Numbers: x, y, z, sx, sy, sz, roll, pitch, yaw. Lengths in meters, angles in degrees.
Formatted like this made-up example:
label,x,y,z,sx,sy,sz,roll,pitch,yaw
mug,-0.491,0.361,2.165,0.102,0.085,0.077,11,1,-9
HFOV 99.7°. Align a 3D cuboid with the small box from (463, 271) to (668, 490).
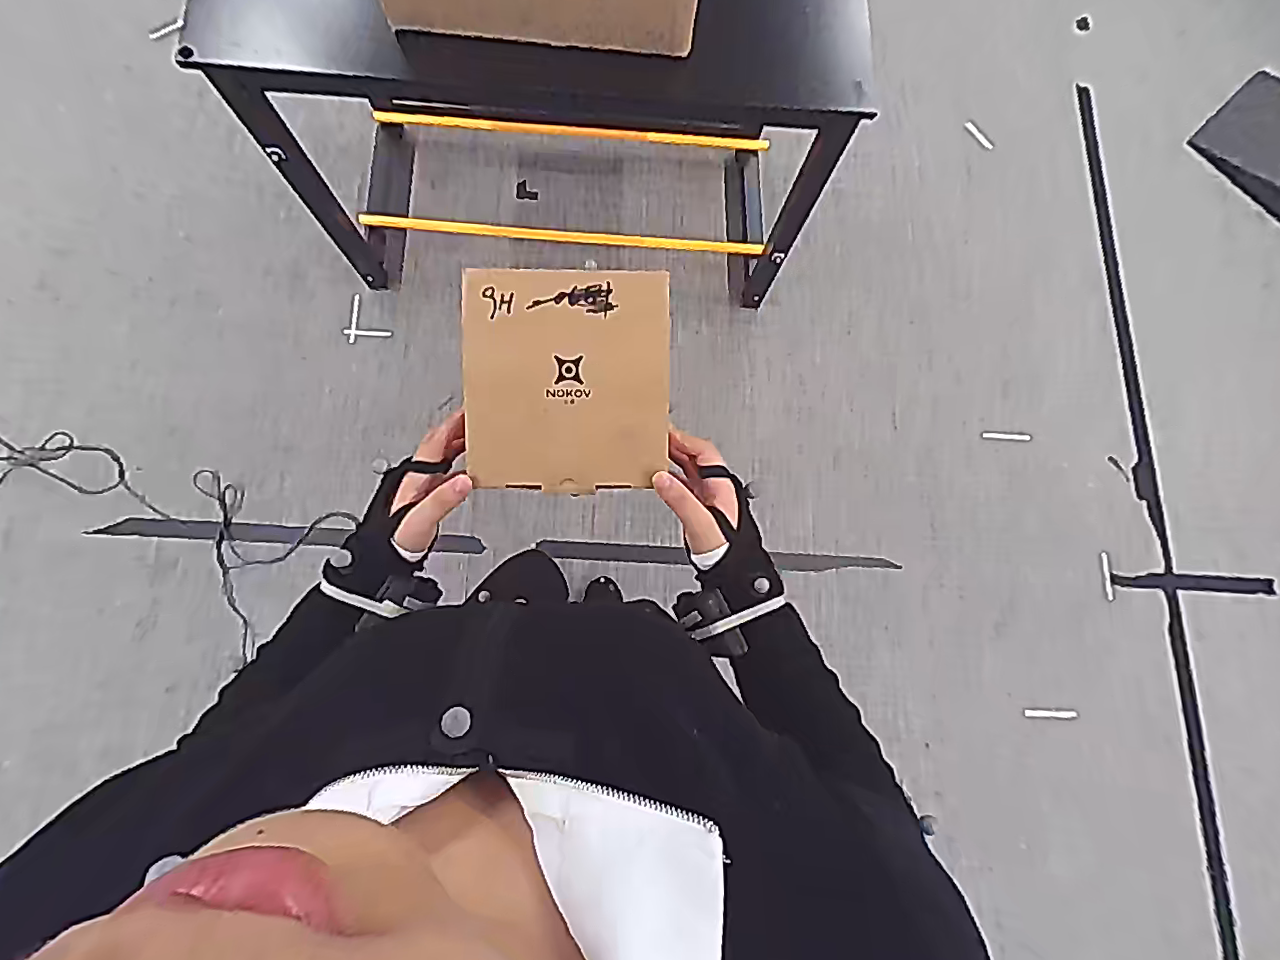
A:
label,x,y,z,sx,sy,sz,roll,pitch,yaw
small box,-0.062,-0.088,0.518,0.168,0.176,0.179,-1,96,-3
